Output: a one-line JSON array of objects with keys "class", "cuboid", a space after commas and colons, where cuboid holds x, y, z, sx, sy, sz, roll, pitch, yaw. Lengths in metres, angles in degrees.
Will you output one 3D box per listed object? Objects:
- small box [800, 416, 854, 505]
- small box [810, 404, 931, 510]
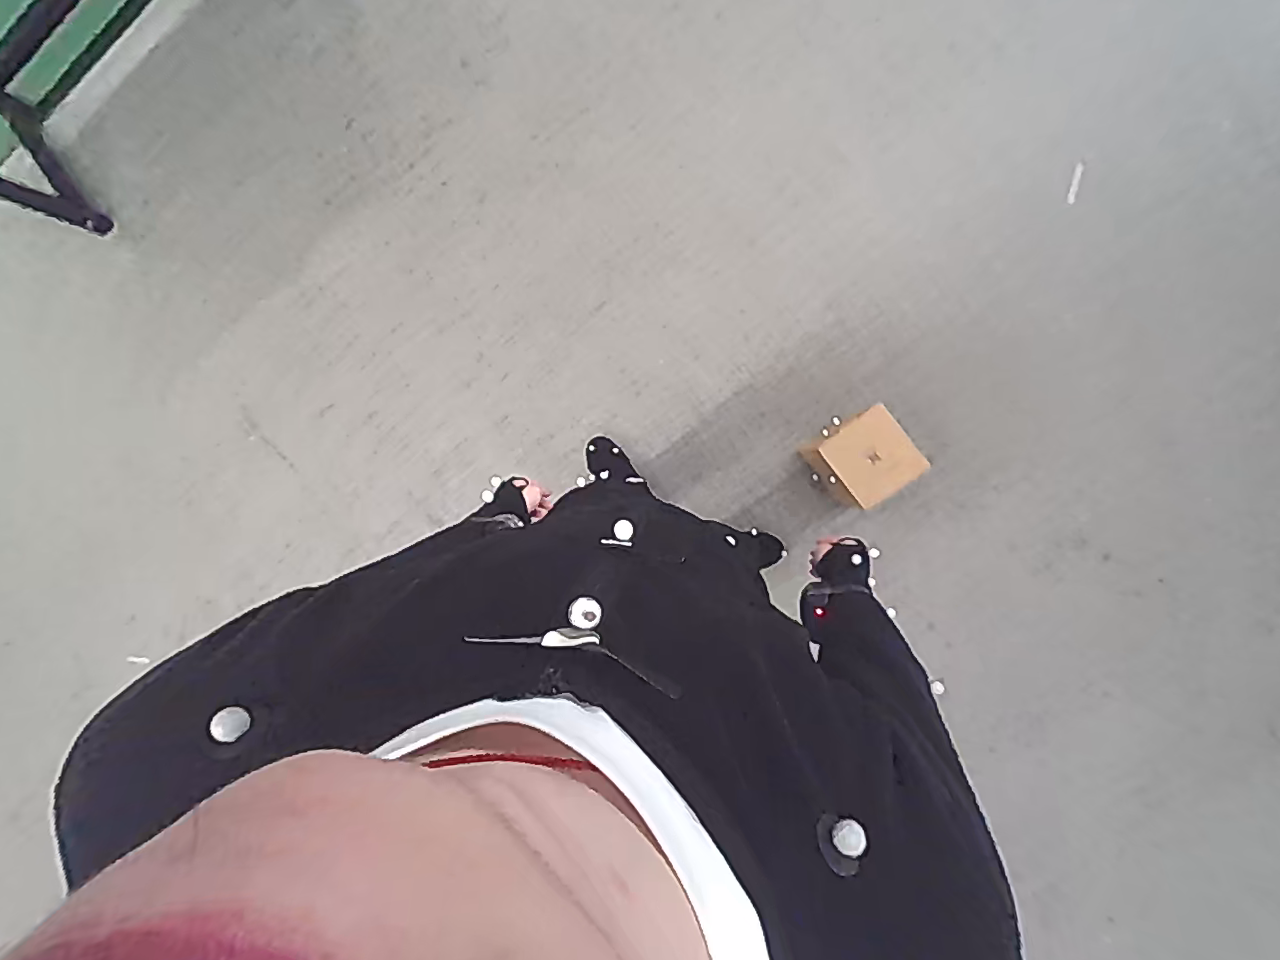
[{"class": "small box", "cuboid": [0.540, -0.056, 1.401, 0.168, 0.176, 0.179, -36, 87, 8]}, {"class": "small box", "cuboid": [0.516, -0.051, 1.241, 0.168, 0.176, 0.179, -38, 87, 9]}]
